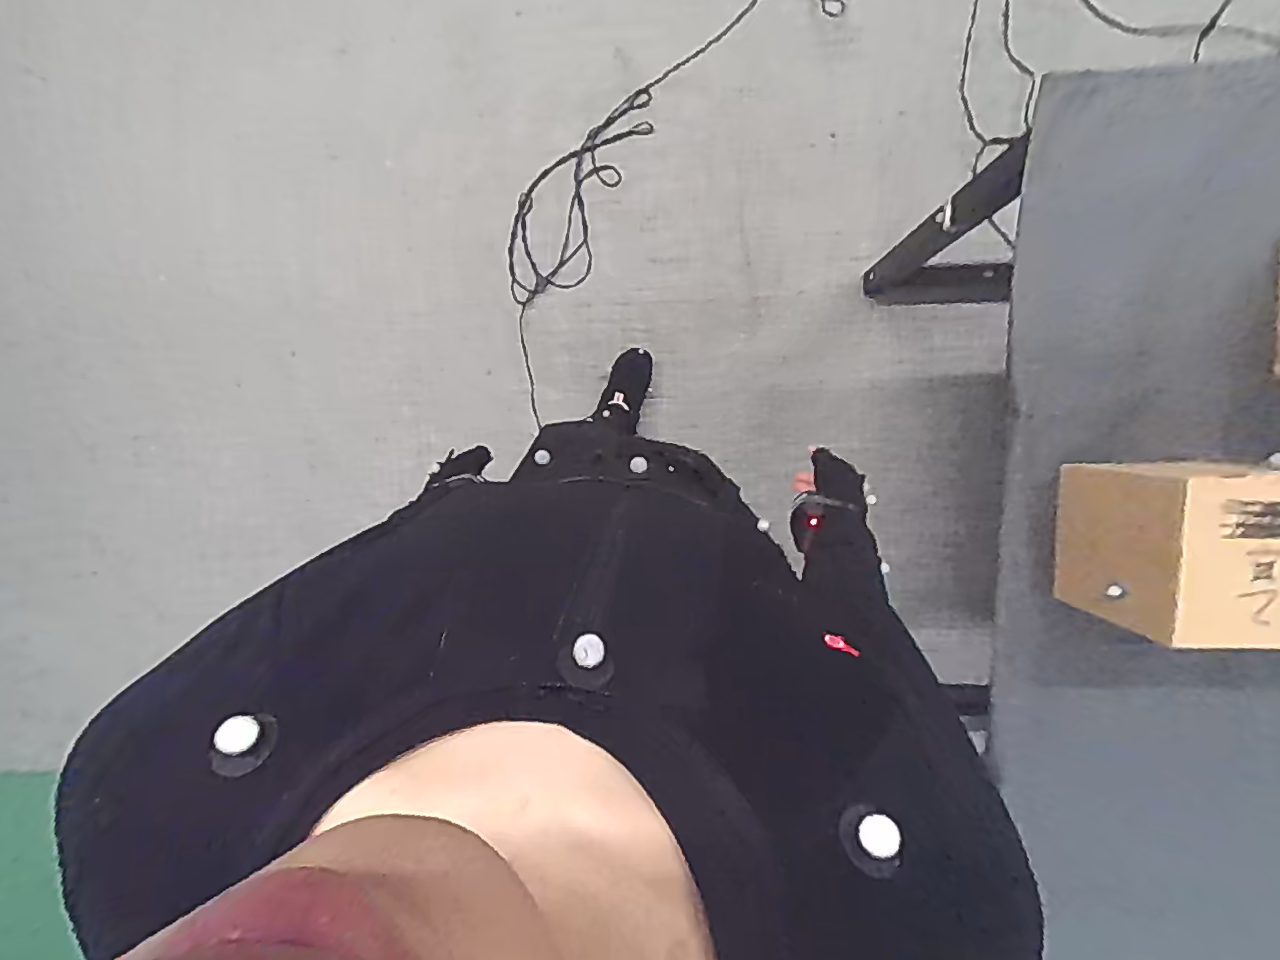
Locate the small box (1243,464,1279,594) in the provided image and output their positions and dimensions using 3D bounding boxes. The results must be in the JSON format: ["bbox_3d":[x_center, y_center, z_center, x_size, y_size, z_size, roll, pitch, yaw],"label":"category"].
[{"bbox_3d":[0.844,0.065,0.595,0.179,0.176,0.168,4,96,3],"label":"small box"}]
